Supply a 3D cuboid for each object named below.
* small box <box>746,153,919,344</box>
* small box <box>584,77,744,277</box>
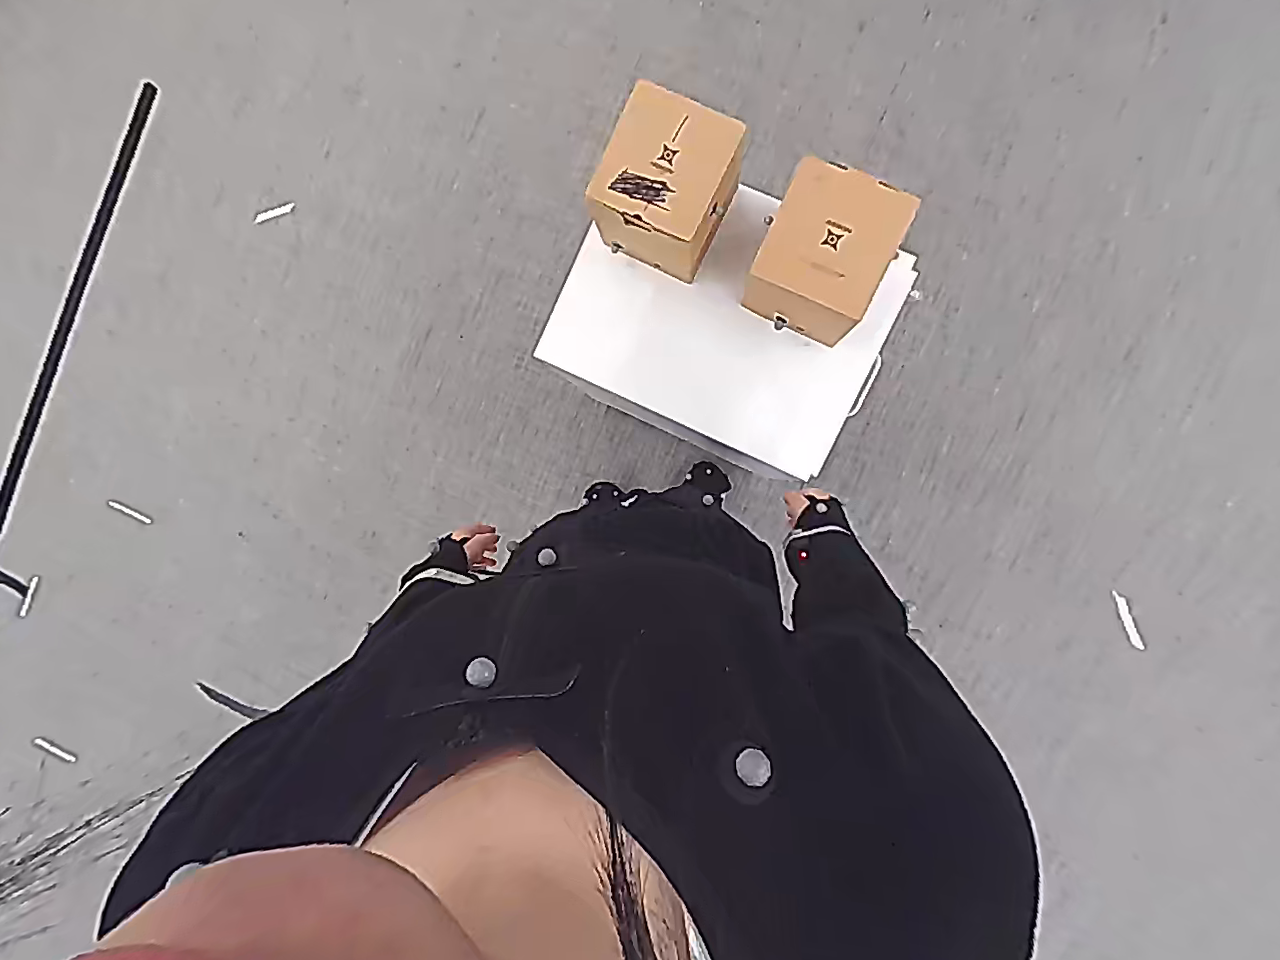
[{"bbox_3d":[0.264,-0.324,0.792,0.168,0.176,0.179,25,95,6],"label":"small box"},{"bbox_3d":[0.040,-0.434,0.809,0.168,0.176,0.179,27,93,4],"label":"small box"}]
